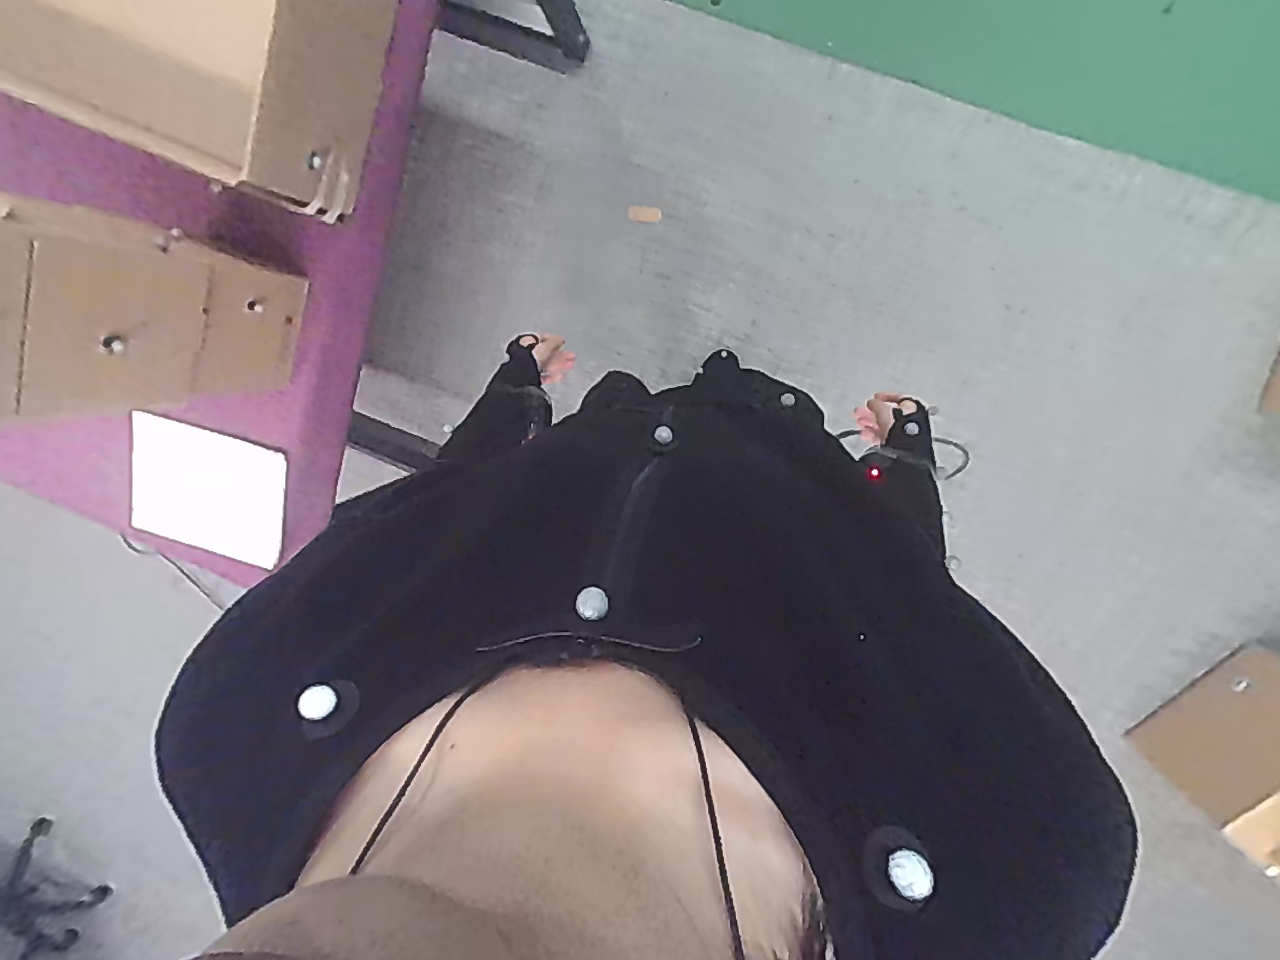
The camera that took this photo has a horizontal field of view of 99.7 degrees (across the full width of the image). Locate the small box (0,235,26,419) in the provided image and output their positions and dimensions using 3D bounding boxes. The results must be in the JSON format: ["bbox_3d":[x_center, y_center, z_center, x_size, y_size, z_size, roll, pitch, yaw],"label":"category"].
[{"bbox_3d":[-0.627,-0.144,0.400,0.168,0.176,0.179,23,104,3],"label":"small box"}]

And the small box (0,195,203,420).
[{"bbox_3d":[-0.604,-0.182,0.559,0.168,0.176,0.179,23,106,3],"label":"small box"}]

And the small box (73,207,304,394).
[{"bbox_3d":[-0.589,-0.228,0.715,0.179,0.176,0.168,23,105,3],"label":"small box"}]
